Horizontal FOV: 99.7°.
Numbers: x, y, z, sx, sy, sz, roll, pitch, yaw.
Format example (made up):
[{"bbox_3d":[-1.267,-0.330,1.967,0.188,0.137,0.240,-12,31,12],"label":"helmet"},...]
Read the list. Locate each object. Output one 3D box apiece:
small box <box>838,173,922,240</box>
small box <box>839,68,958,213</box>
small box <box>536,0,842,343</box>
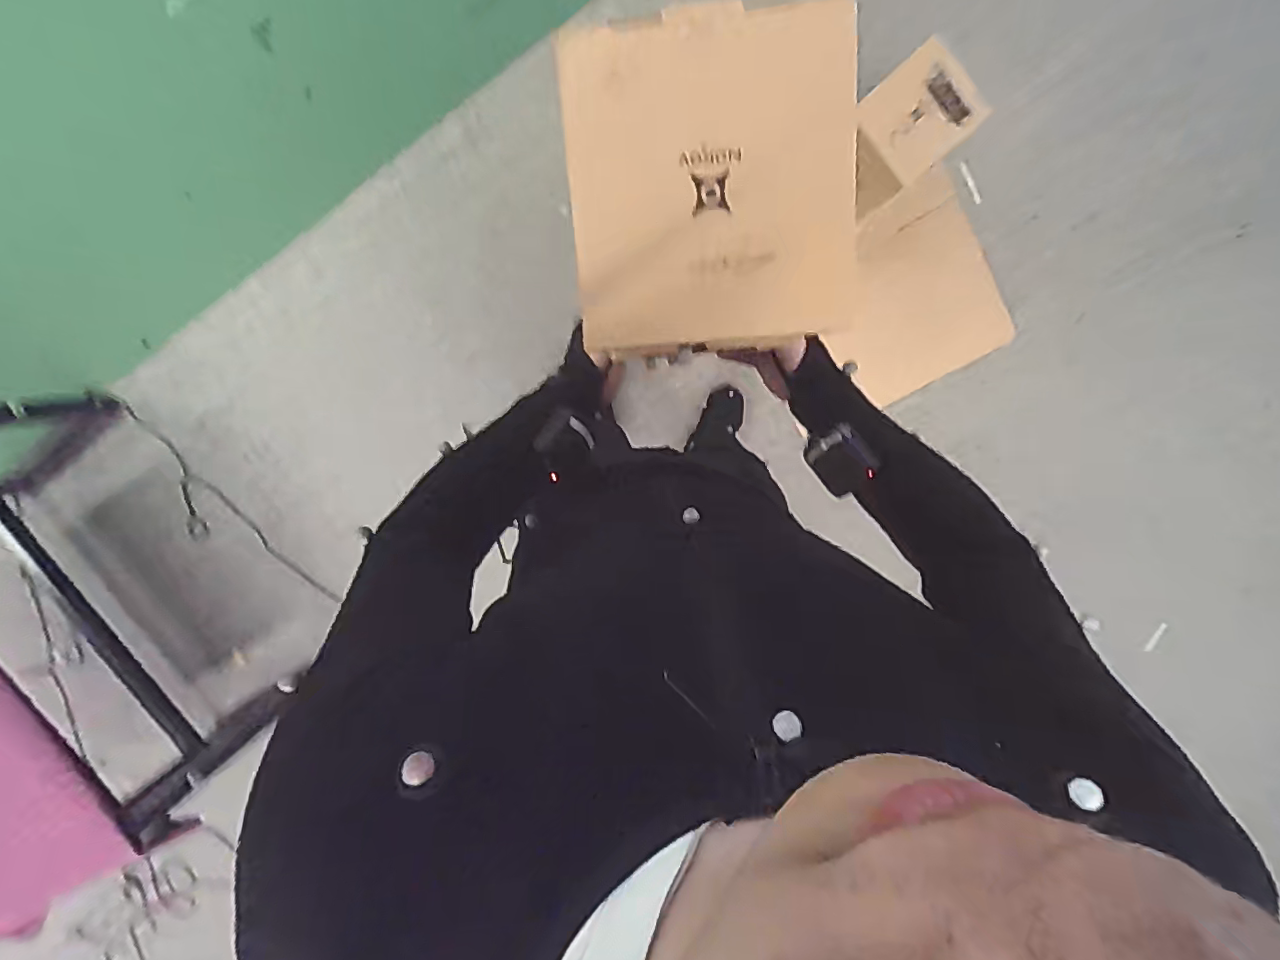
[{"bbox_3d":[0.532,-0.716,1.308,0.179,0.176,0.168,-36,98,13],"label":"small box"},{"bbox_3d":[0.517,-0.700,1.143,0.179,0.176,0.168,-35,99,12],"label":"small box"},{"bbox_3d":[0.033,-0.192,0.382,0.168,0.176,0.179,-3,104,5],"label":"small box"}]
